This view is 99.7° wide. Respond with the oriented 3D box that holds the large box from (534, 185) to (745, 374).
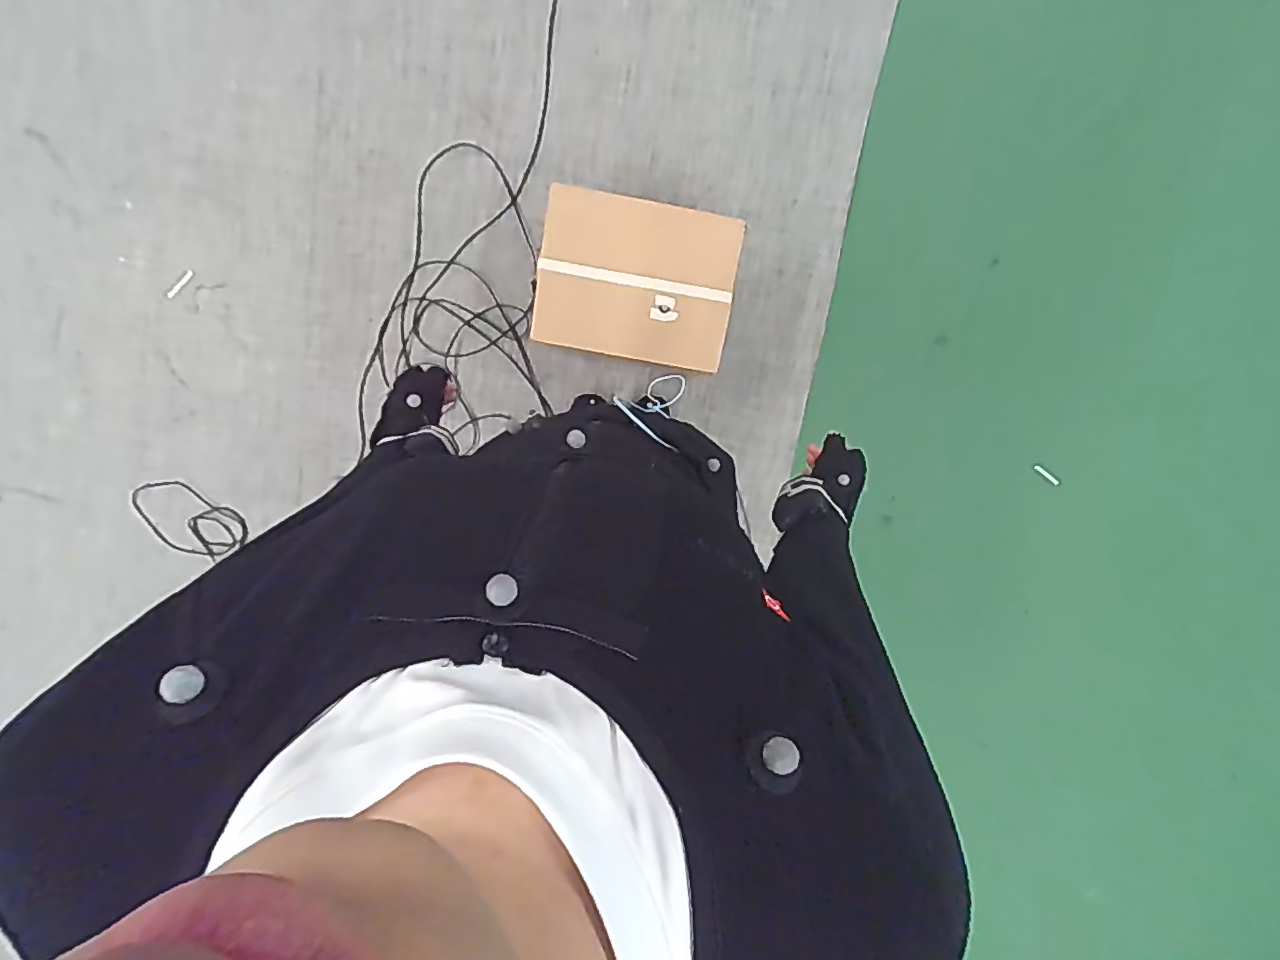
[{"bbox_3d":[-0.010,-0.437,1.259,0.408,0.320,0.320,10,100,-3],"label":"large box"}]
